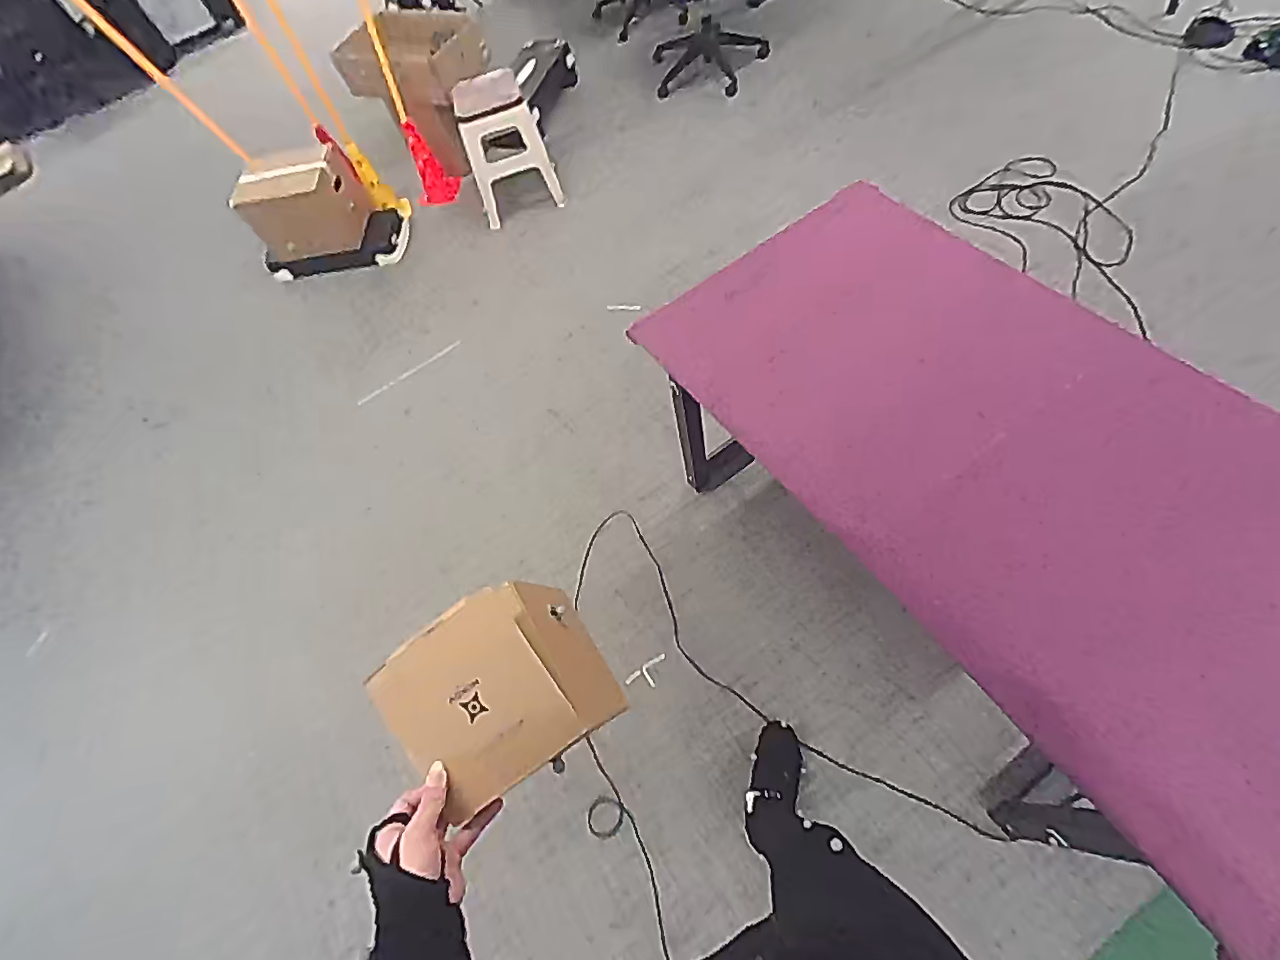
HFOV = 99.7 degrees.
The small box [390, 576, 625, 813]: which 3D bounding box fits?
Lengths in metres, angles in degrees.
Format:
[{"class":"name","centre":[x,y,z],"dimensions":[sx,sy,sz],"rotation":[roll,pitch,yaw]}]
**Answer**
[{"class":"small box","centre":[-0.142,0.234,0.626],"dimensions":[0.168,0.176,0.179],"rotation":[-35,71,4]}]
